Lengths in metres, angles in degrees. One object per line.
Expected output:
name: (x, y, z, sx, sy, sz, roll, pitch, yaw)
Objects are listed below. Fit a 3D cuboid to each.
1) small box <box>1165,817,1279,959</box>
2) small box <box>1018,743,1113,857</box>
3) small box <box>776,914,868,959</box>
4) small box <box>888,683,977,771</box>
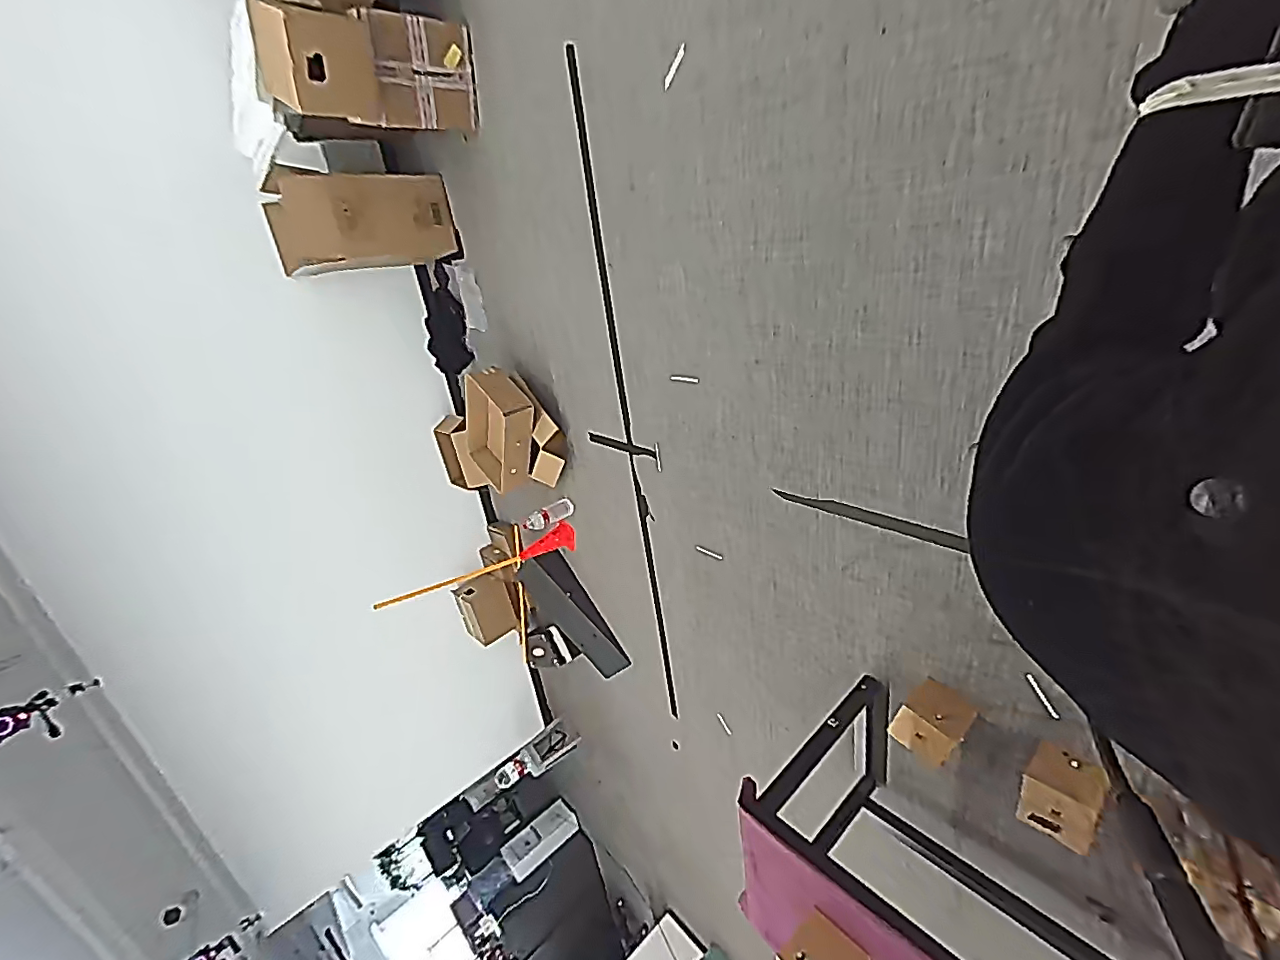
small box: (1.398, 0.961, 1.285, 0.168, 0.176, 0.179, 20, 128, 45)
small box: (1.189, 0.886, 1.511, 0.168, 0.176, 0.179, 17, 123, 46)
small box: (0.477, 1.294, 1.415, 0.179, 0.176, 0.168, 20, 127, 45)
small box: (0.954, 0.793, 1.763, 0.179, 0.176, 0.168, 34, 135, 34)
